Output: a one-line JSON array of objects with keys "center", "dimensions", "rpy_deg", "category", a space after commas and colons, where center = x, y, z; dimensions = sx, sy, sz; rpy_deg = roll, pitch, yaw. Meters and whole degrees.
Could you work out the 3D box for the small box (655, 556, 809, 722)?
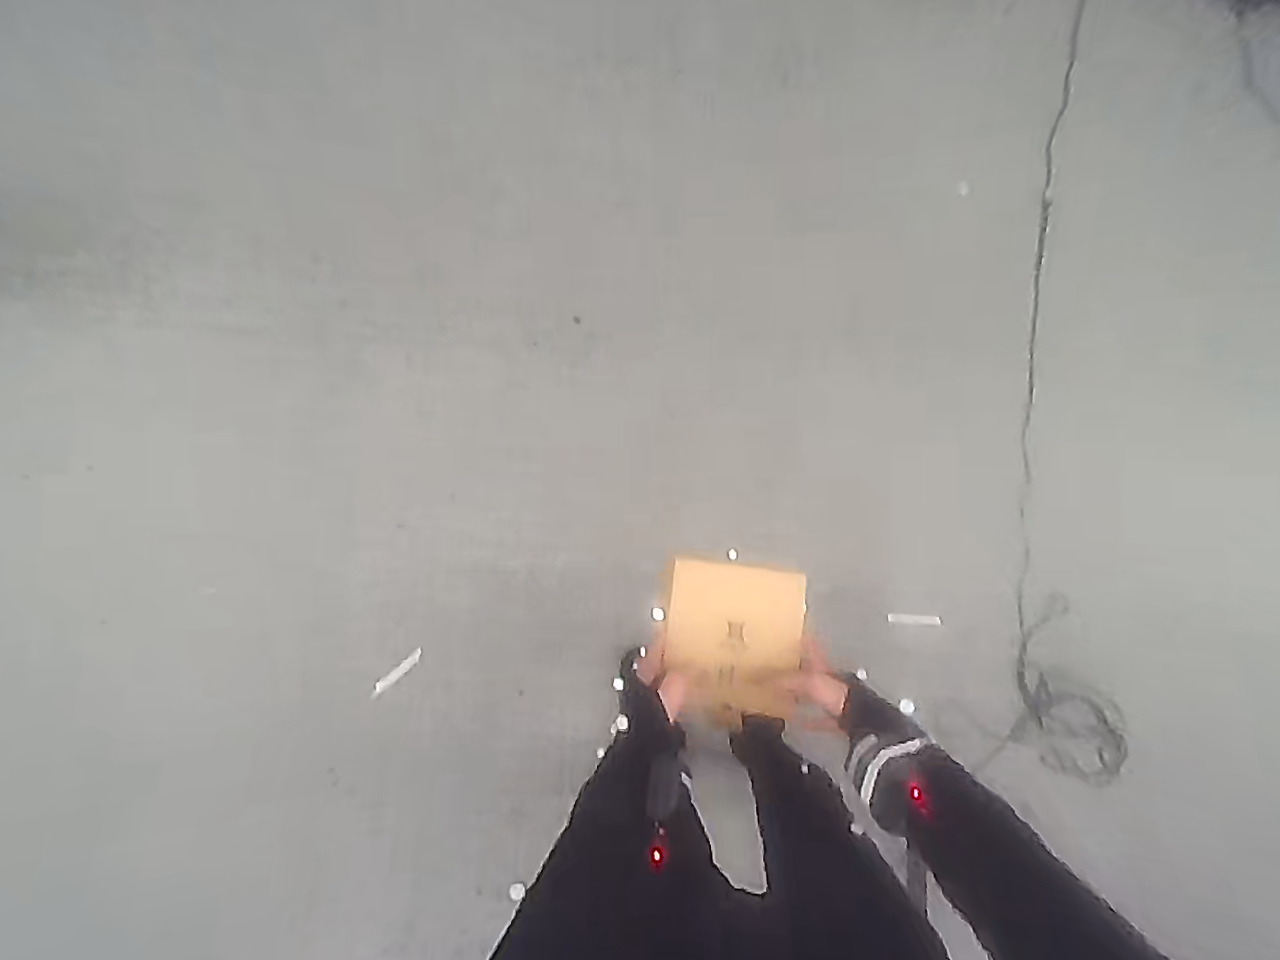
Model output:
[{"center": [0.113, 0.201, 0.730], "dimensions": [0.168, 0.176, 0.179], "rpy_deg": [8, 85, -1], "category": "small box"}]
